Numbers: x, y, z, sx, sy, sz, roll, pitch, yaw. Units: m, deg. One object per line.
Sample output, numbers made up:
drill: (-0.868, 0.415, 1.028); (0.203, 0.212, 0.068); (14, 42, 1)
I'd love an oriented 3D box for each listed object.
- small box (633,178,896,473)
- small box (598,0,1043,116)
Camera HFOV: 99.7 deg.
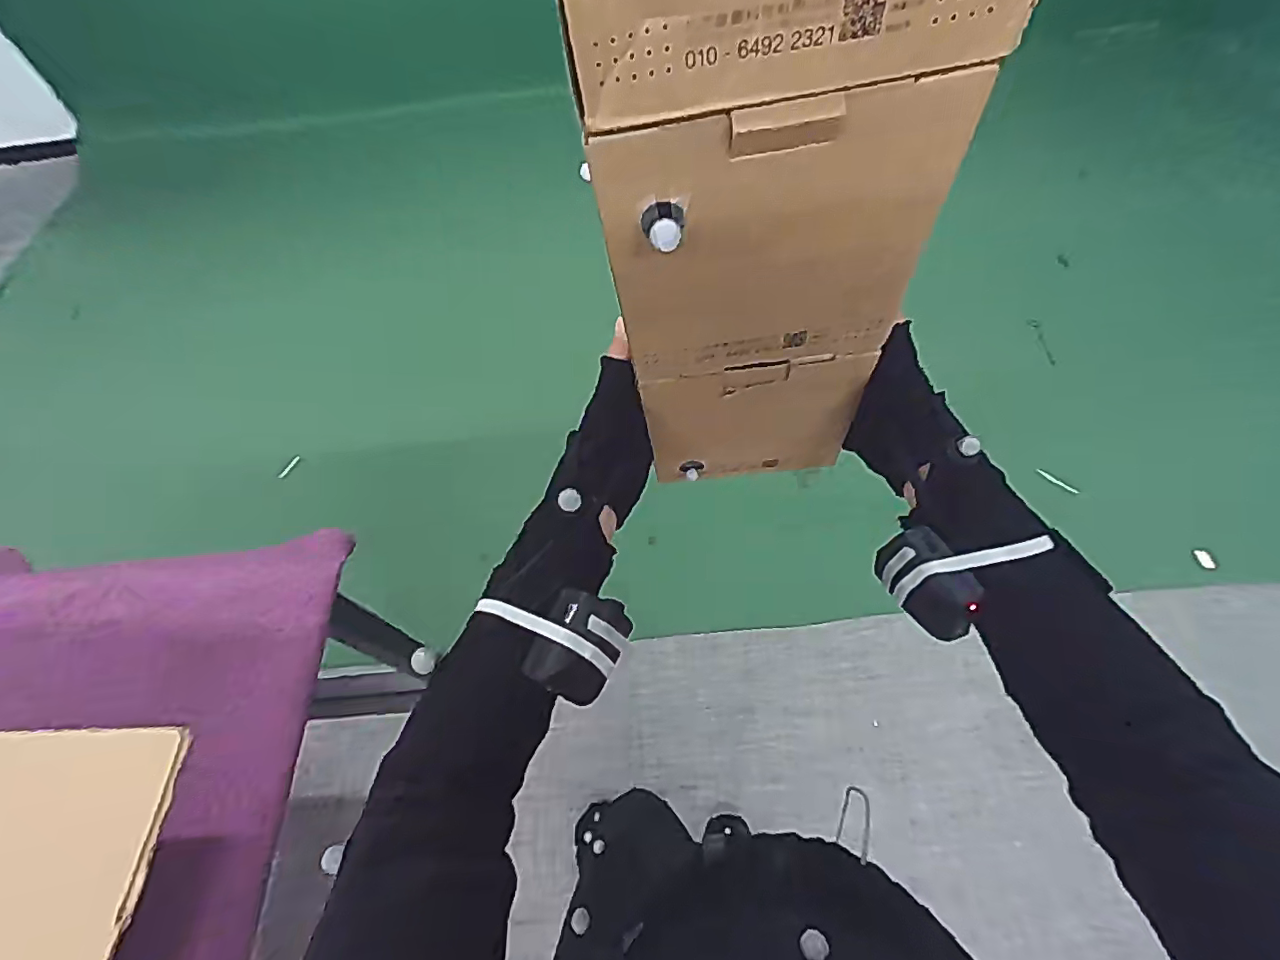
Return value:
small box: (0.093, -0.116, 0.469); (0.168, 0.176, 0.179); (-8, 66, 4)
small box: (0.054, -0.263, 0.179); (0.168, 0.176, 0.179); (-8, 64, 3)
